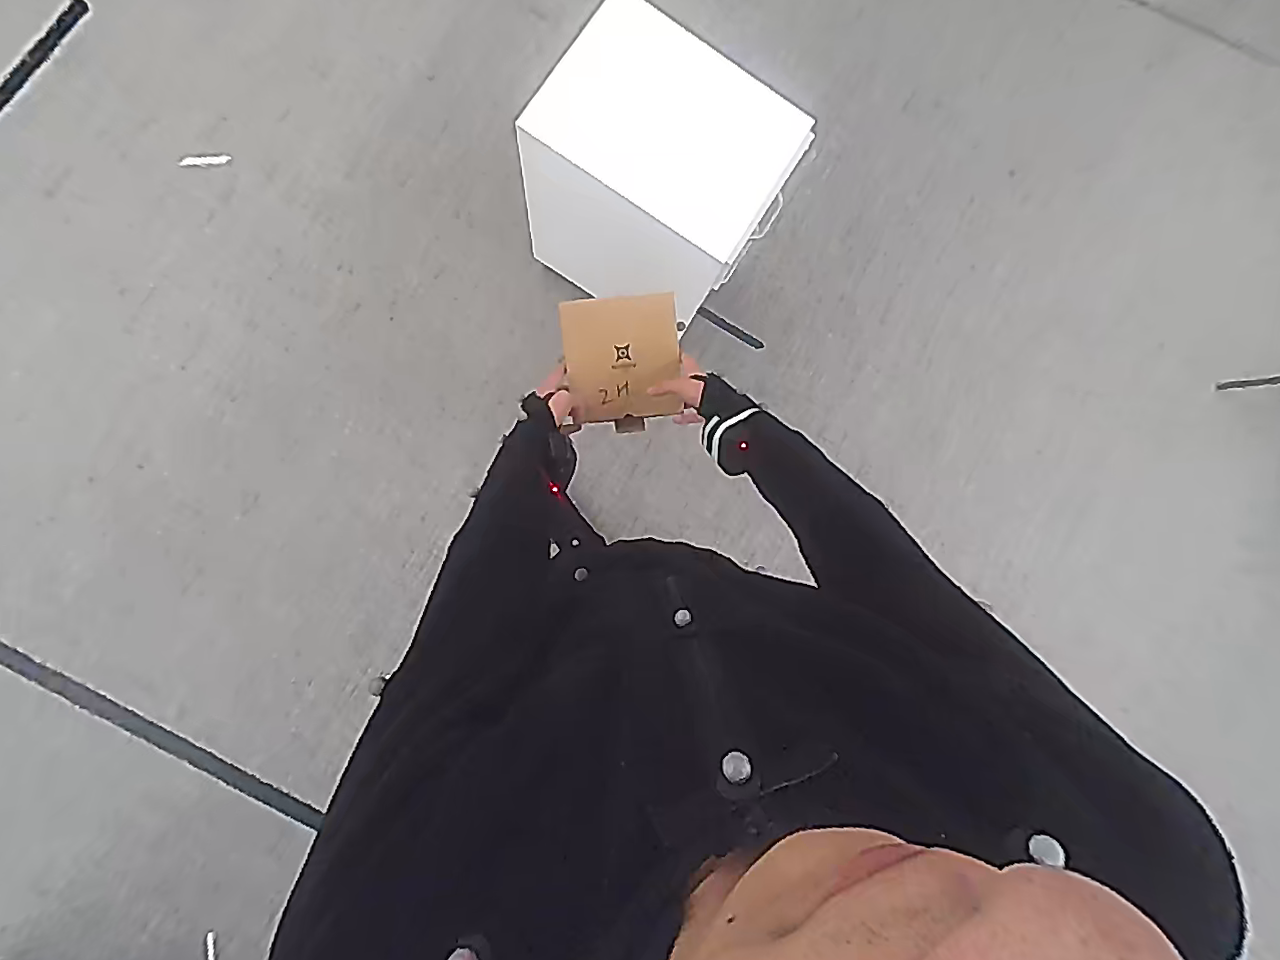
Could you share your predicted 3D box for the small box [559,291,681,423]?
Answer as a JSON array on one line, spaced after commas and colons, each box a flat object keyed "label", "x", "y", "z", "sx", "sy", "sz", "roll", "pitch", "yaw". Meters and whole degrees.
[{"label": "small box", "x": -0.031, "y": -0.187, "z": 0.851, "sx": 0.168, "sy": 0.176, "sz": 0.179, "roll": -6, "pitch": 101, "yaw": 0}]
